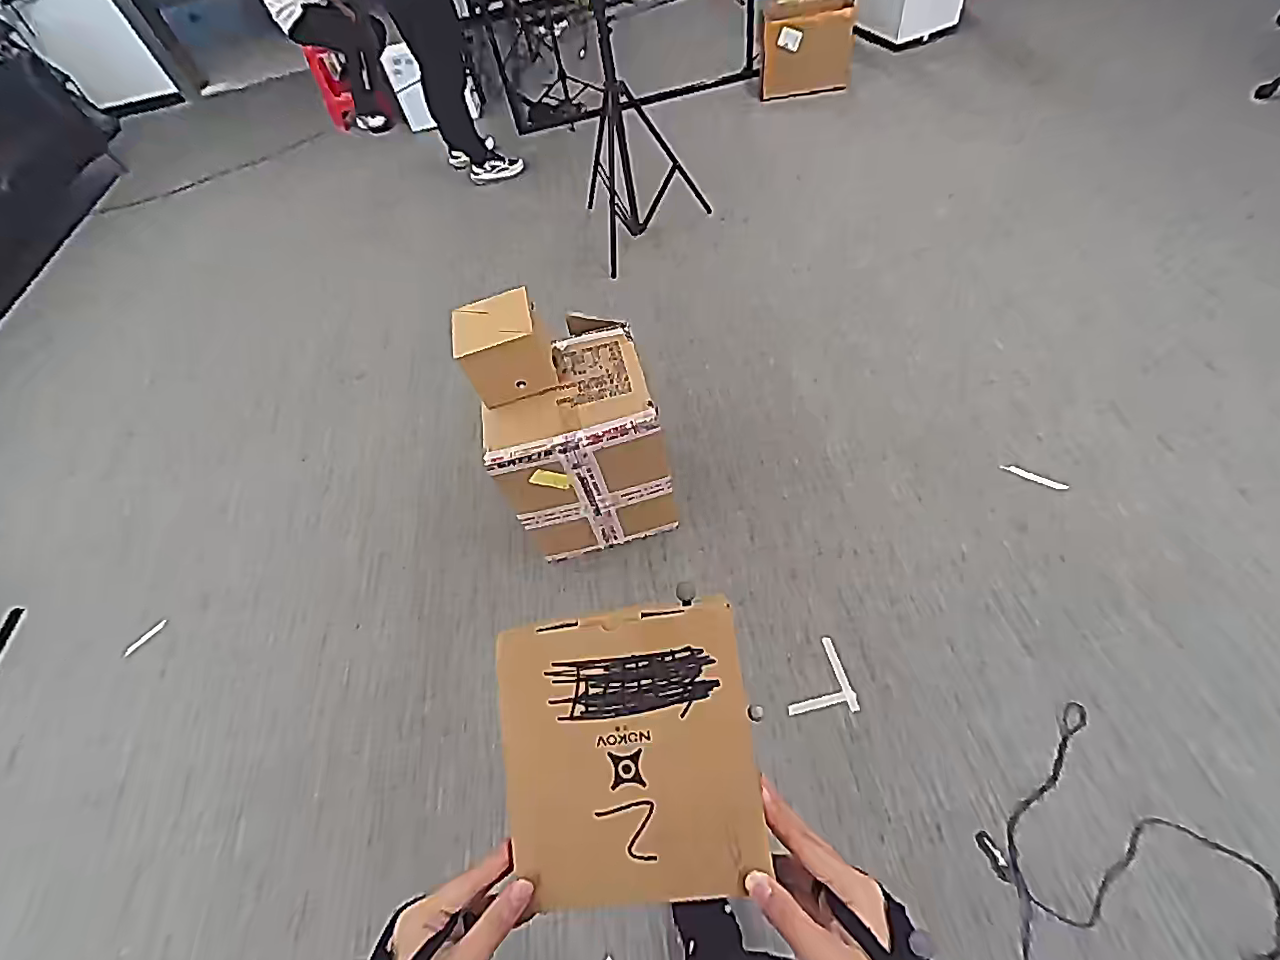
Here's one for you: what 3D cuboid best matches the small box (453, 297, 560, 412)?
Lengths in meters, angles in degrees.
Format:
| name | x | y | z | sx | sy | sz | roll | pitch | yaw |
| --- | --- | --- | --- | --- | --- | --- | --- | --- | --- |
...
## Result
| name | x | y | z | sx | sy | sz | roll | pitch | yaw |
| --- | --- | --- | --- | --- | --- | --- | --- | --- | --- |
| small box | -0.301 | -0.289 | 1.231 | 0.179 | 0.176 | 0.168 | -17 | 55 | 2 |
